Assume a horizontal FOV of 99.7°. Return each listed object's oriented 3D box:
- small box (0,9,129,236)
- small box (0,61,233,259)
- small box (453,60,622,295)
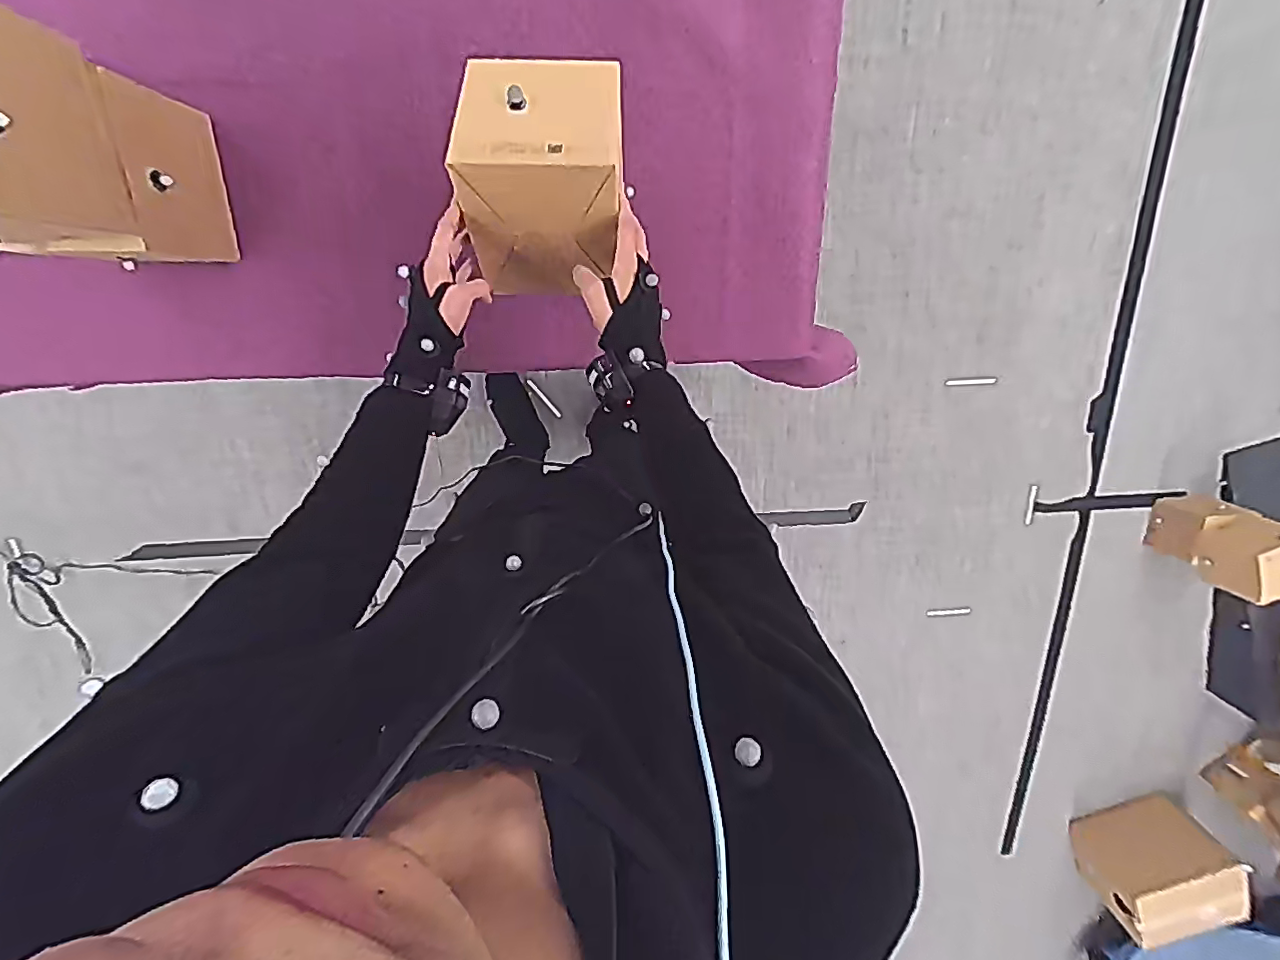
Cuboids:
[{"bbox_3d":[-0.614,-0.314,0.470,0.168,0.176,0.179,-5,108,-3],"label":"small box"},{"bbox_3d":[-0.621,-0.356,0.629,0.168,0.176,0.179,-1,109,-5],"label":"small box"},{"bbox_3d":[-0.105,-0.339,0.620,0.168,0.176,0.179,0,152,-1],"label":"small box"}]
